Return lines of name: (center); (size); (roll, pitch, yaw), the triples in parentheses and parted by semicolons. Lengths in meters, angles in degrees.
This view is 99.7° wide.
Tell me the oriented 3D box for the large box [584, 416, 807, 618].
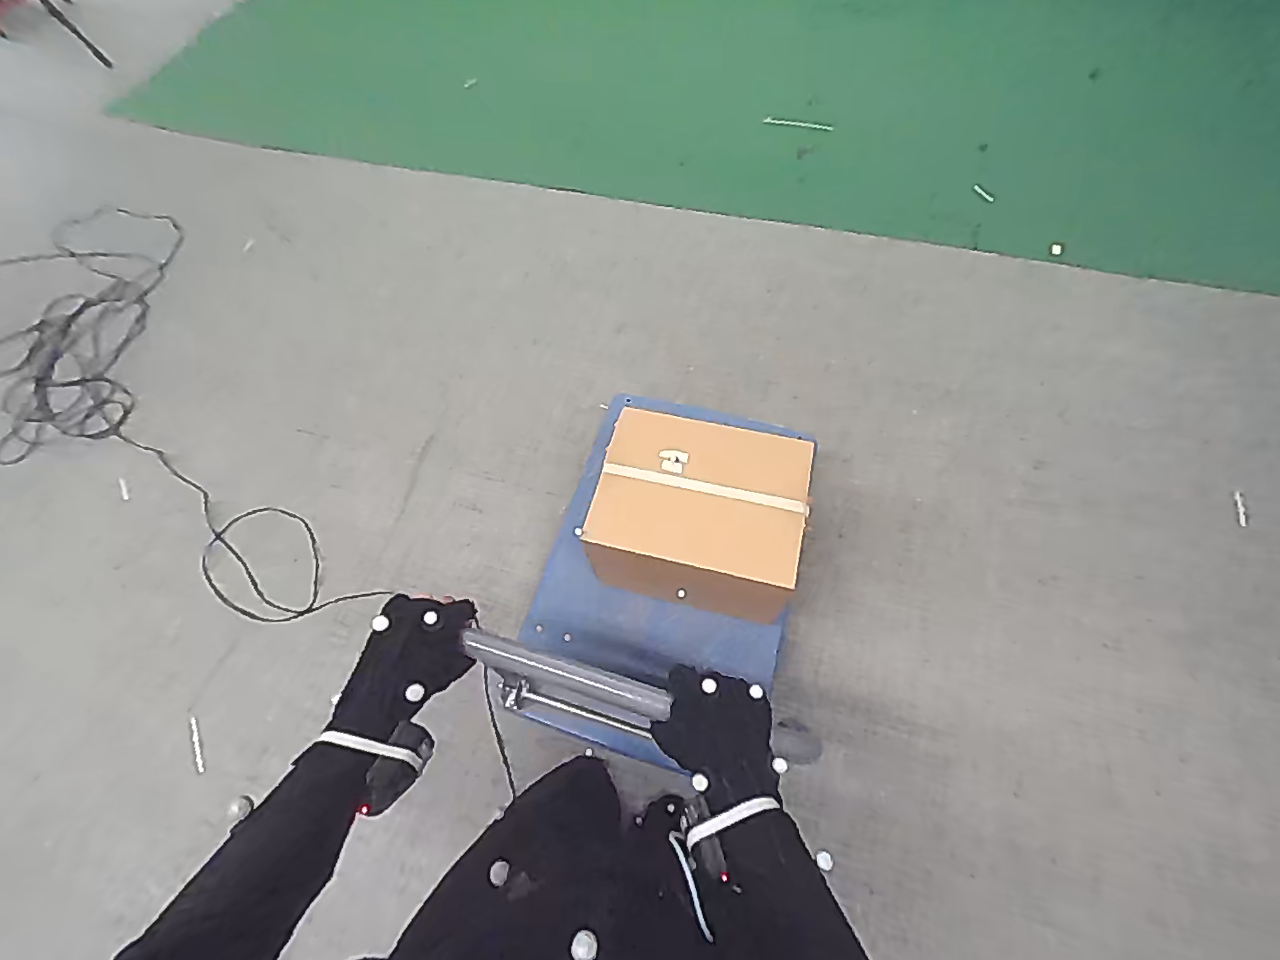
large box: (0.130, 0.091, 1.205); (0.408, 0.320, 0.320); (11, 64, 10)
